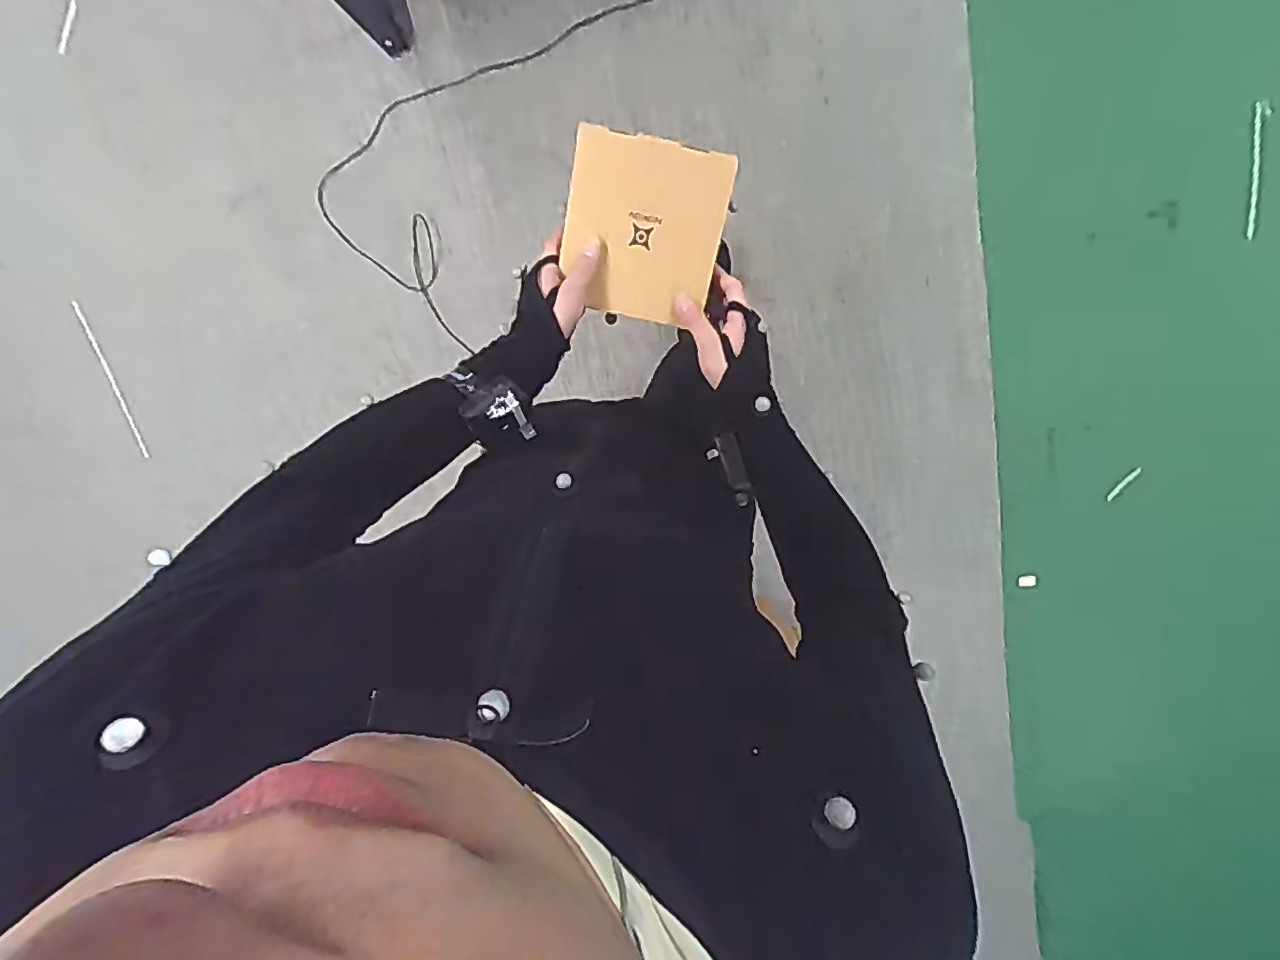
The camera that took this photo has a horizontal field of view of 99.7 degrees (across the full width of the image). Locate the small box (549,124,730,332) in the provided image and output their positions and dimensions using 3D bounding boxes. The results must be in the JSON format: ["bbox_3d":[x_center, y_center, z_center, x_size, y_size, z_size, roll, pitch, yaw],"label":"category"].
[{"bbox_3d":[0.000,-0.280,0.639,0.168,0.176,0.179,11,107,-1],"label":"small box"}]
